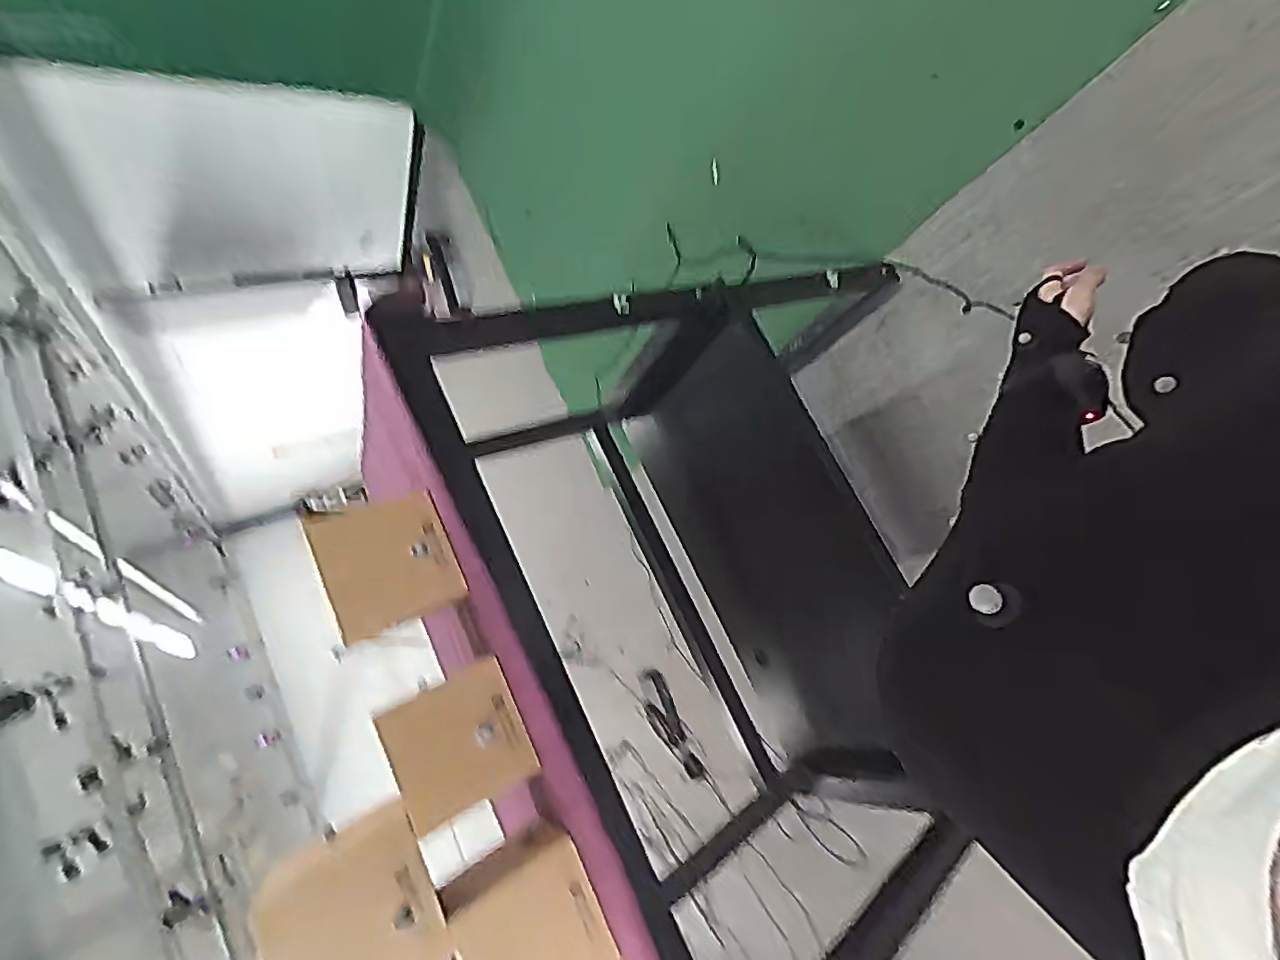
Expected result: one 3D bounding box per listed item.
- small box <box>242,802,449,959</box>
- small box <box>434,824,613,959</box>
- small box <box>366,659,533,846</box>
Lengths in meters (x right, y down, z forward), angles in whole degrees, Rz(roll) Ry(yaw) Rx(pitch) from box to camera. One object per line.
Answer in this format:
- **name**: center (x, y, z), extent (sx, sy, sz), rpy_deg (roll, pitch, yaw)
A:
- **small box**: center (-0.348, 0.527, 0.658), extent (0.179, 0.176, 0.168), rpy_deg (-38, 76, 56)
- **small box**: center (-0.158, 0.594, 0.718), extent (0.168, 0.176, 0.179), rpy_deg (63, 148, 11)
- **small box**: center (-0.271, 0.372, 0.765), extent (0.168, 0.176, 0.179), rpy_deg (63, 146, 10)
